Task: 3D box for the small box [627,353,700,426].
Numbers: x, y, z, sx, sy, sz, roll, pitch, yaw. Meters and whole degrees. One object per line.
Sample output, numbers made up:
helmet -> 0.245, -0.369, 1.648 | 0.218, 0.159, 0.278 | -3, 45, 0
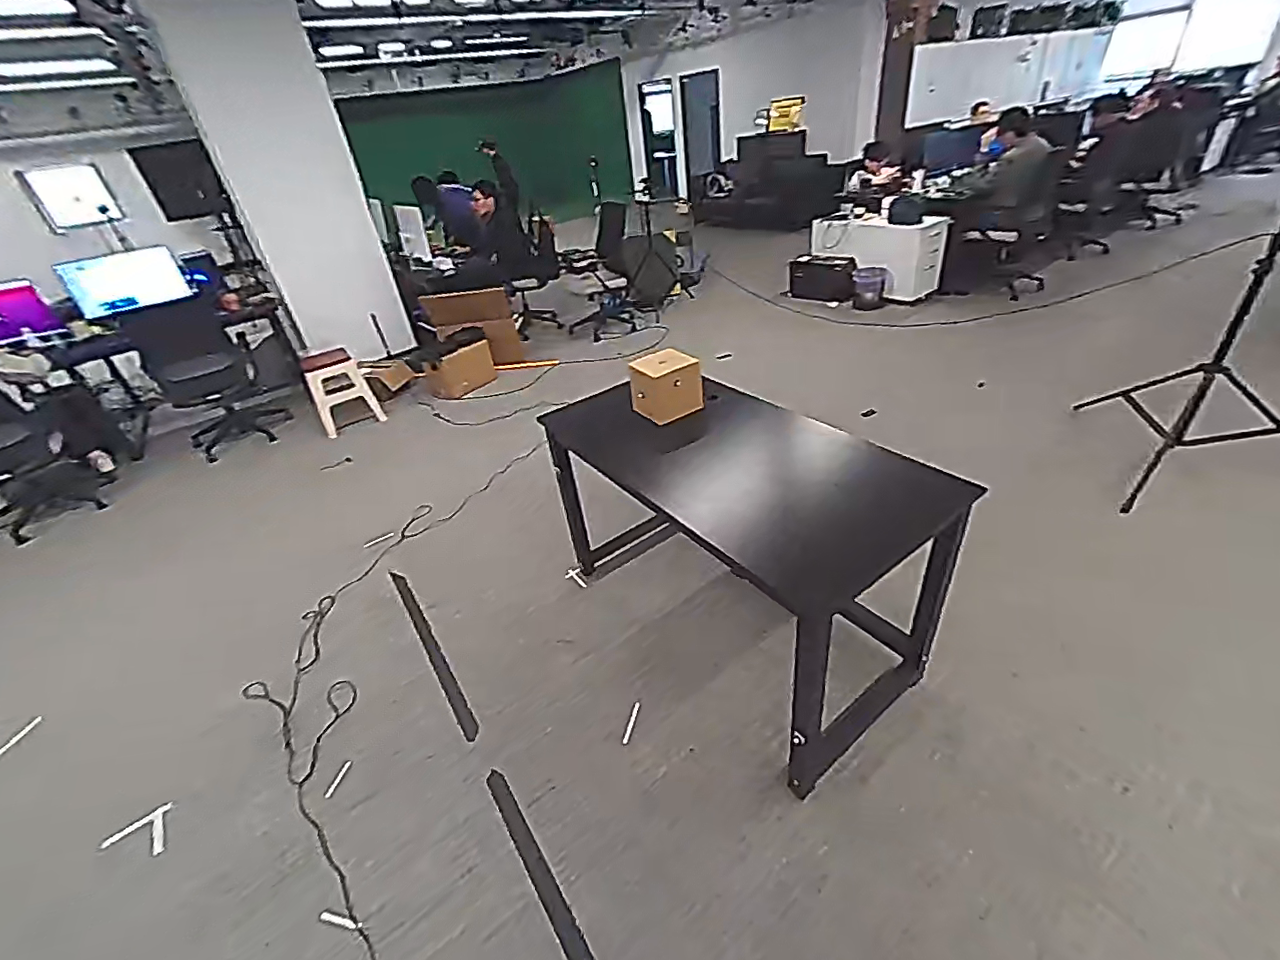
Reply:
small box -> 0.083, -0.295, 1.773 | 0.179, 0.176, 0.168 | -25, 37, -23
